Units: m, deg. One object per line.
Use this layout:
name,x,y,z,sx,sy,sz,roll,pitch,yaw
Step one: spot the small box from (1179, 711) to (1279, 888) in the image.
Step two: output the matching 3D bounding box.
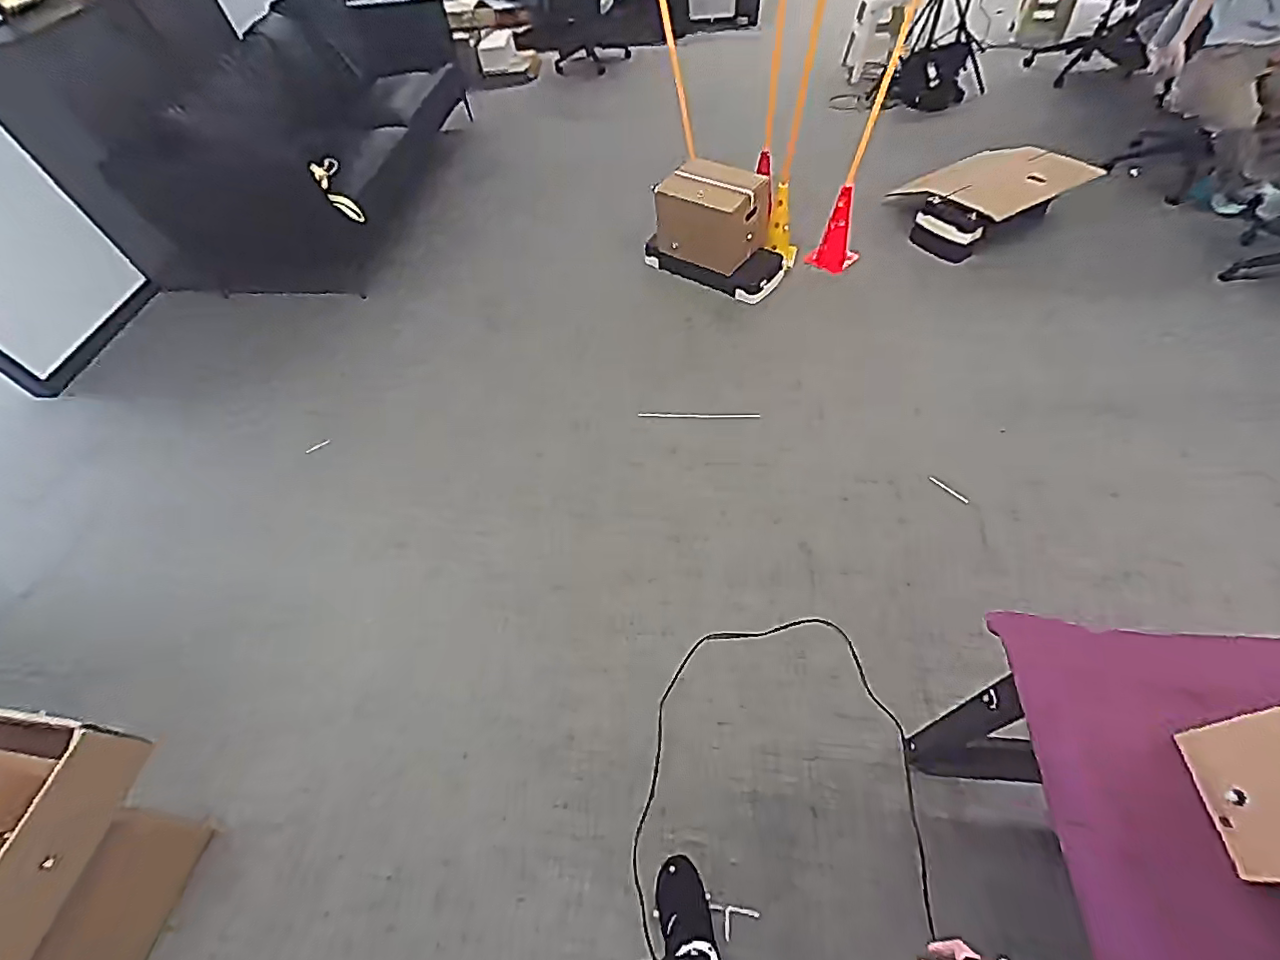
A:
small box,0.805,0.373,0.621,0.179,0.176,0.168,0,54,6
